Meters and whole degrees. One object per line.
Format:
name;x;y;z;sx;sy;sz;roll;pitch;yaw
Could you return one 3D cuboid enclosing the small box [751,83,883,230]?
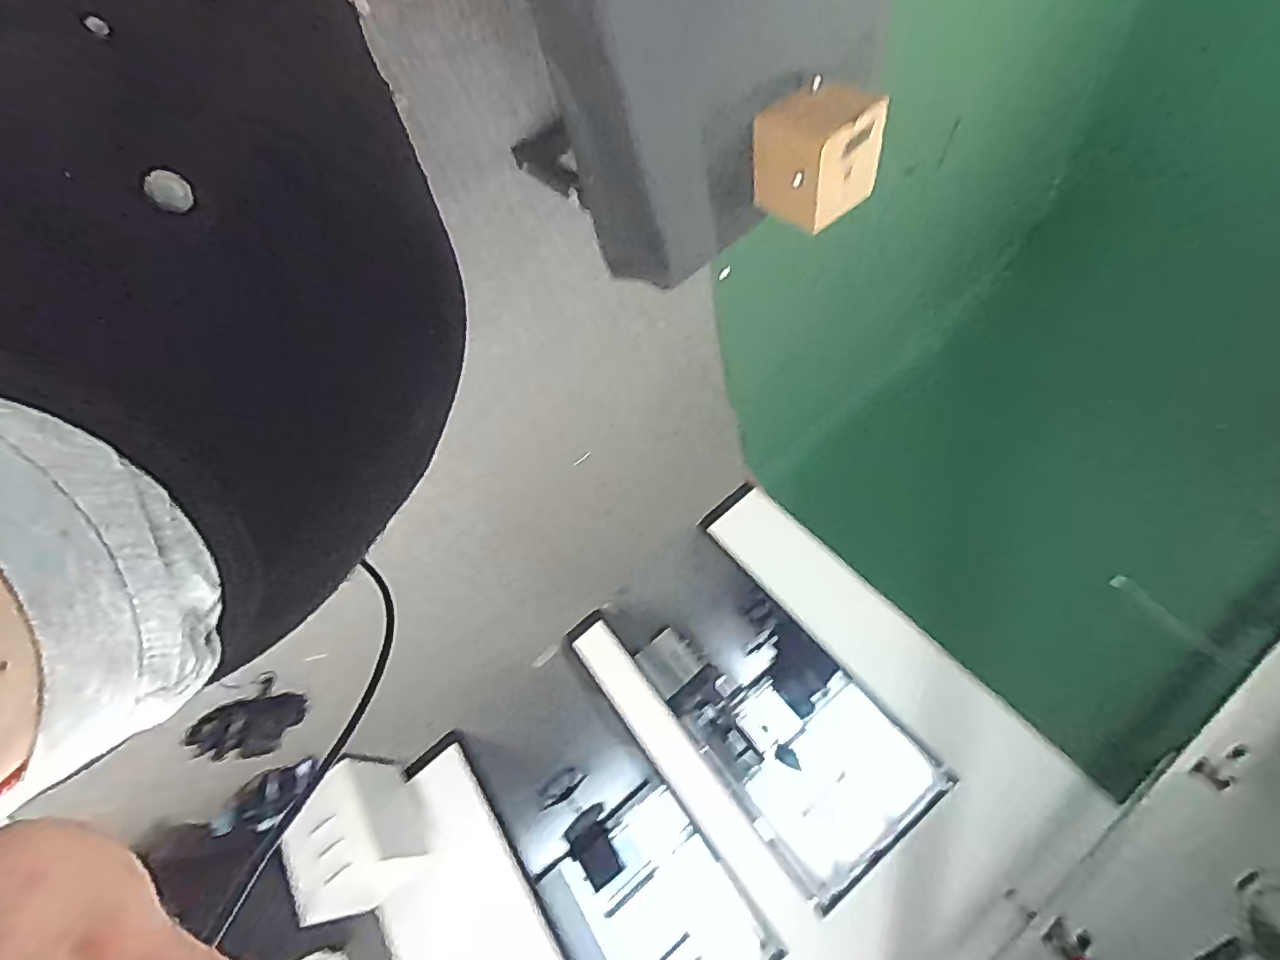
small box;0.328;-0.626;1.038;0.168;0.176;0.179;-37;150;-11
